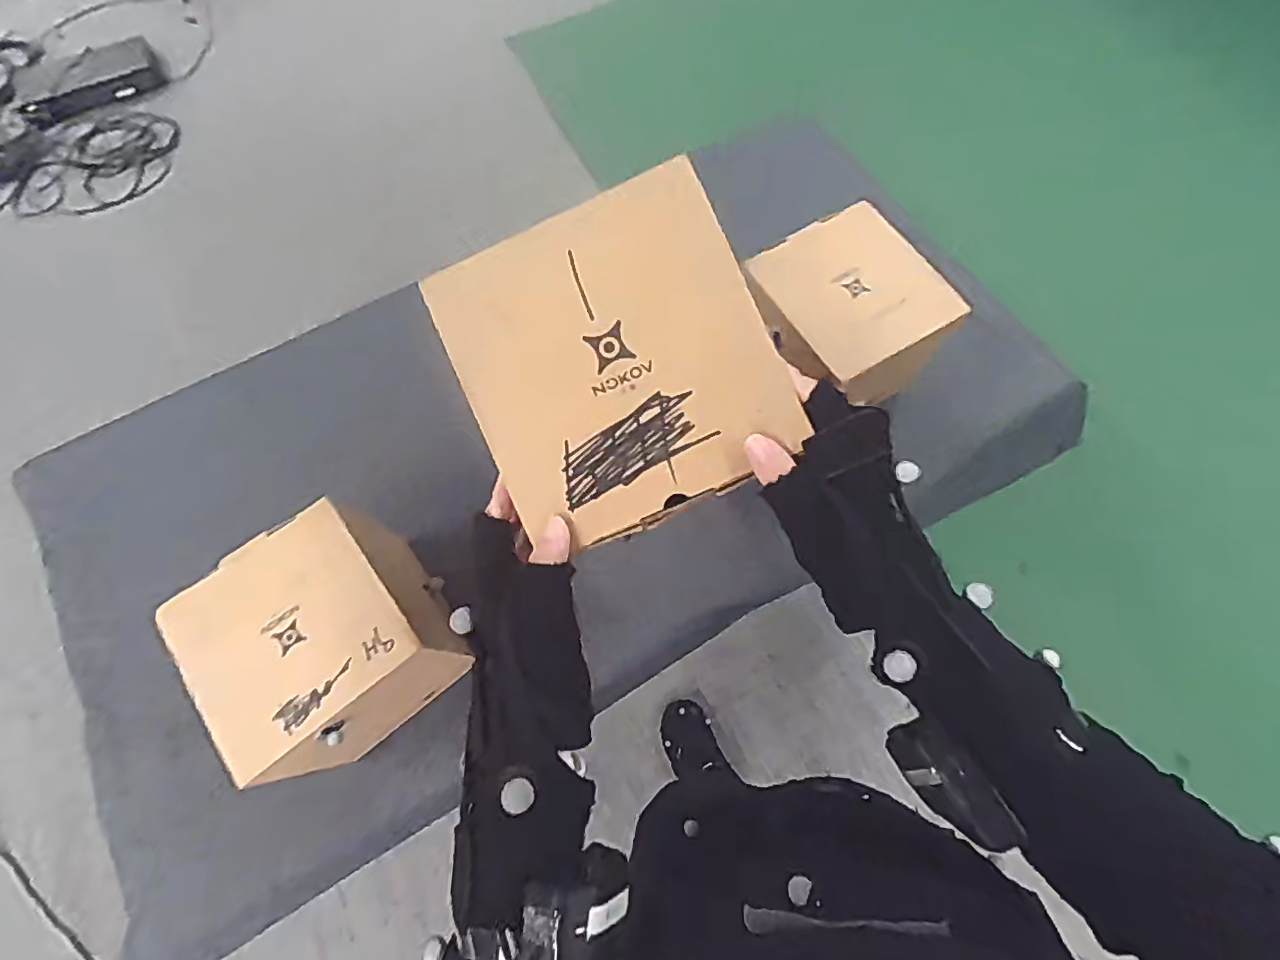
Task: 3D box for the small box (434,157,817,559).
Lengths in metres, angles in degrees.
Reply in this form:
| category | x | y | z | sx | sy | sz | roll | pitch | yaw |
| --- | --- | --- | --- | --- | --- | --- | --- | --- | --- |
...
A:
| category | x | y | z | sx | sy | sz | roll | pitch | yaw |
| --- | --- | --- | --- | --- | --- | --- | --- | --- | --- |
| small box | -0.003 | -0.066 | 0.374 | 0.168 | 0.176 | 0.179 | -23 | 88 | 4 |

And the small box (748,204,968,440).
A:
| category | x | y | z | sx | sy | sz | roll | pitch | yaw |
| --- | --- | --- | --- | --- | --- | --- | --- | --- | --- |
| small box | 0.228 | -0.176 | 0.643 | 0.168 | 0.176 | 0.179 | -31 | 73 | -7 |

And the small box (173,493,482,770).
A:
| category | x | y | z | sx | sy | sz | roll | pitch | yaw |
| --- | --- | --- | --- | --- | --- | --- | --- | --- | --- |
| small box | -0.288 | 0.149 | 0.534 | 0.168 | 0.176 | 0.179 | -38 | 71 | -10 |
